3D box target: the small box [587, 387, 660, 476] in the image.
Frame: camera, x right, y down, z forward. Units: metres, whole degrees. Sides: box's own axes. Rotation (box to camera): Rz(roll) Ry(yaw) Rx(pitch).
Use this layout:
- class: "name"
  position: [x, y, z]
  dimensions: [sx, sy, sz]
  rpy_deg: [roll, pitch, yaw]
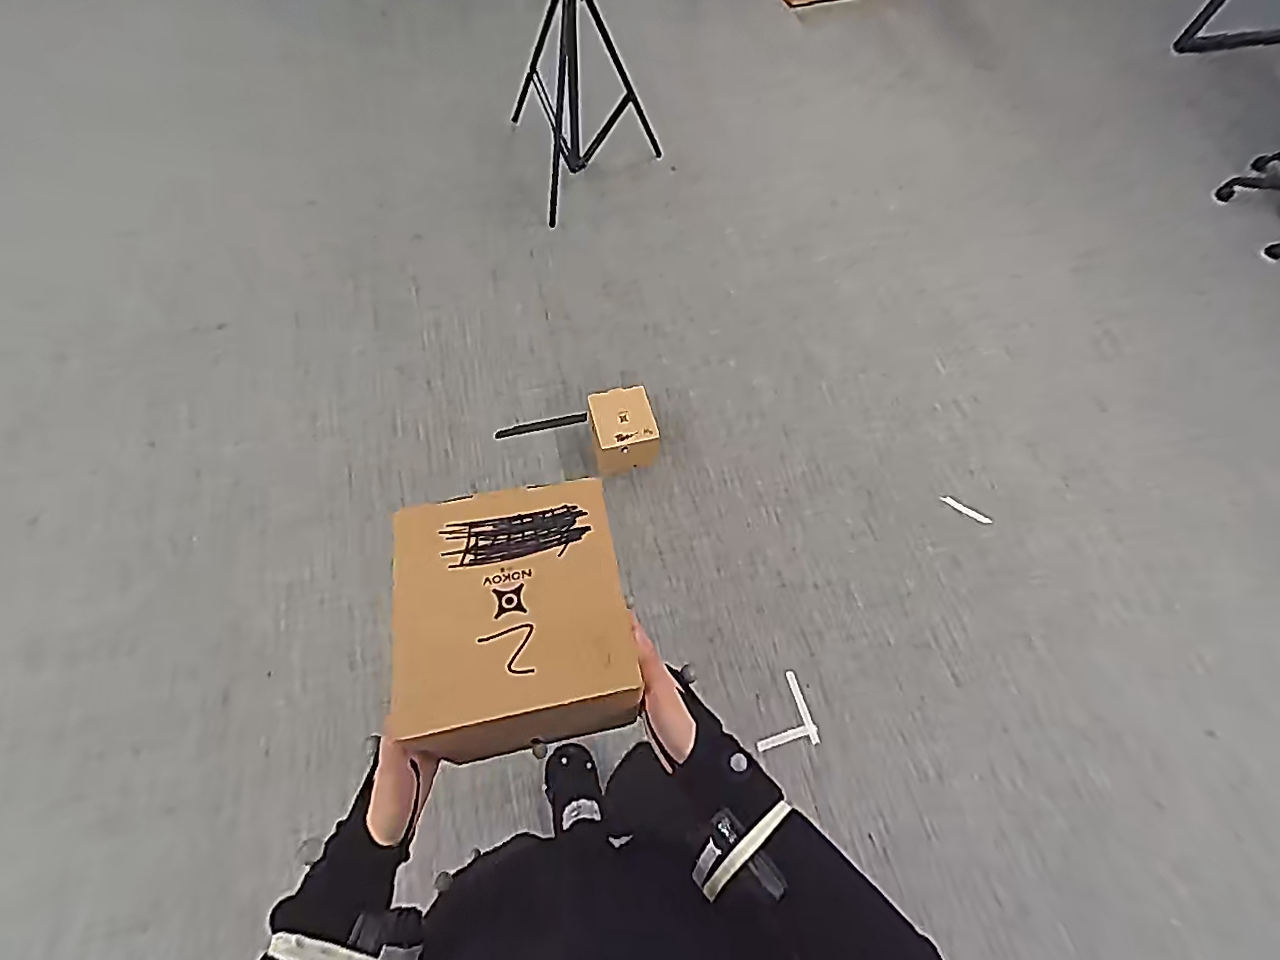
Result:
- class: "small box"
  position: [-0.054, -0.136, 1.544]
  dimensions: [0.168, 0.176, 0.179]
  rpy_deg: [-13, 66, -11]
